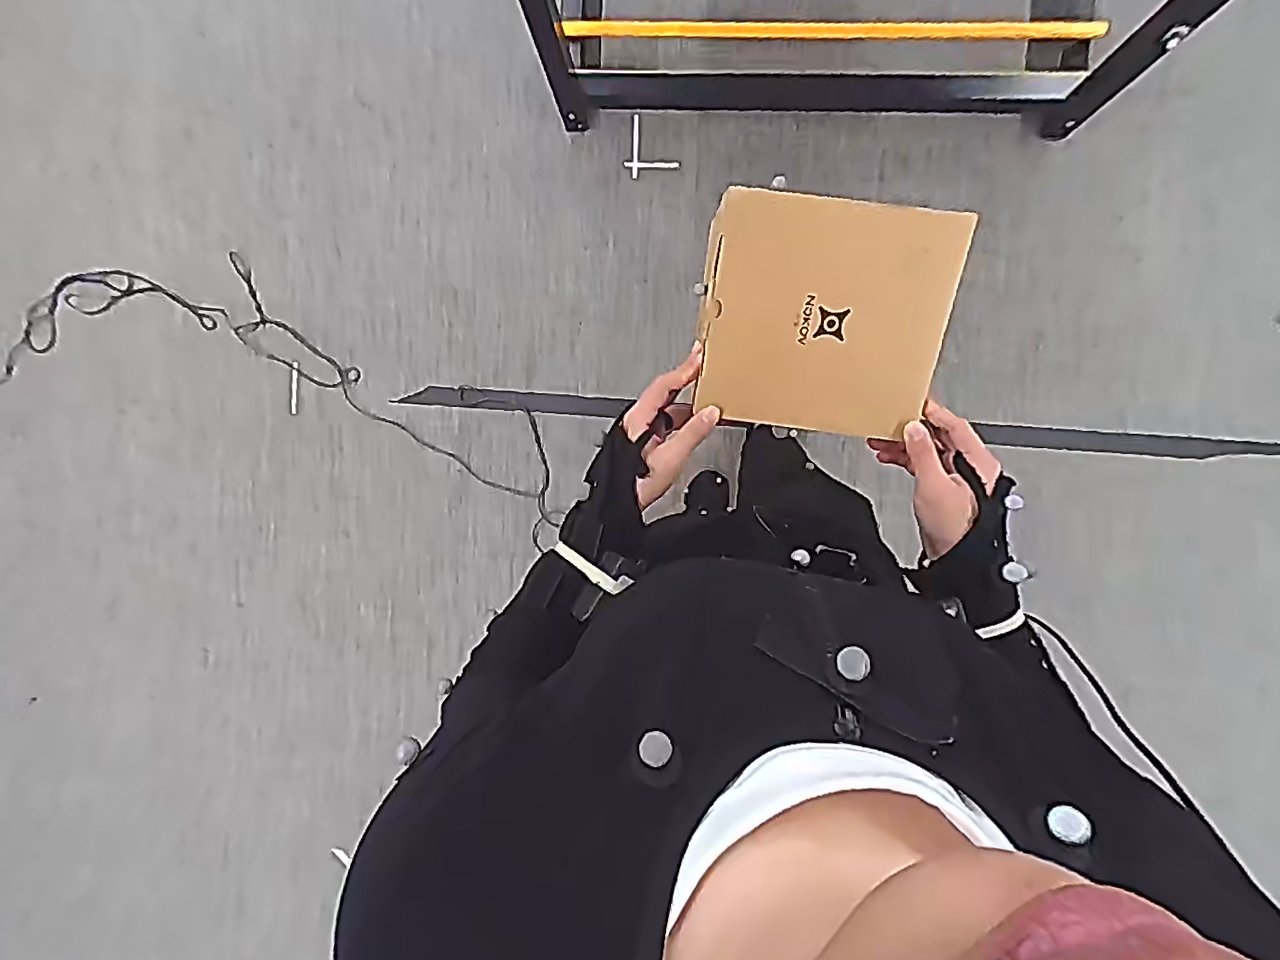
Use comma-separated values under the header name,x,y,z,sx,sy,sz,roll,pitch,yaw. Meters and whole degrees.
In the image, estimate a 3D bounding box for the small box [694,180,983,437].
name,x,y,z,sx,sy,sz,roll,pitch,yaw
small box,0.145,-0.146,0.470,0.179,0.176,0.168,7,109,3
